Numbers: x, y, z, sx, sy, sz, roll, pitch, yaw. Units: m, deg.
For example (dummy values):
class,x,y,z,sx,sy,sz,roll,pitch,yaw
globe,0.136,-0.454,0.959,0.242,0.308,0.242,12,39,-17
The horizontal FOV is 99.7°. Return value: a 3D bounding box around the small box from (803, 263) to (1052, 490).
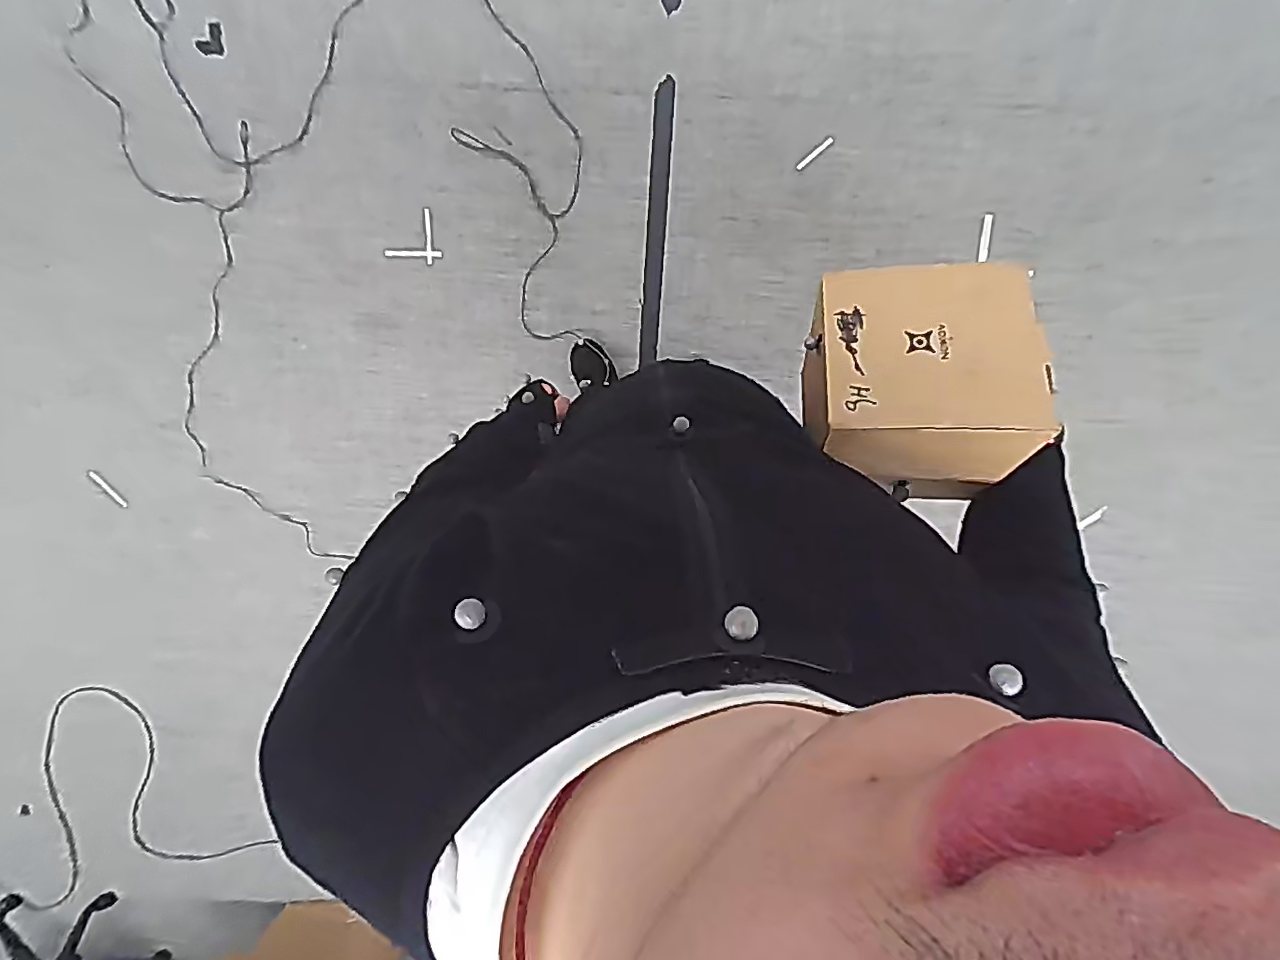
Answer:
class,x,y,z,sx,sy,sz,roll,pitch,yaw
small box,0.267,-0.095,0.550,0.179,0.176,0.168,2,69,10
